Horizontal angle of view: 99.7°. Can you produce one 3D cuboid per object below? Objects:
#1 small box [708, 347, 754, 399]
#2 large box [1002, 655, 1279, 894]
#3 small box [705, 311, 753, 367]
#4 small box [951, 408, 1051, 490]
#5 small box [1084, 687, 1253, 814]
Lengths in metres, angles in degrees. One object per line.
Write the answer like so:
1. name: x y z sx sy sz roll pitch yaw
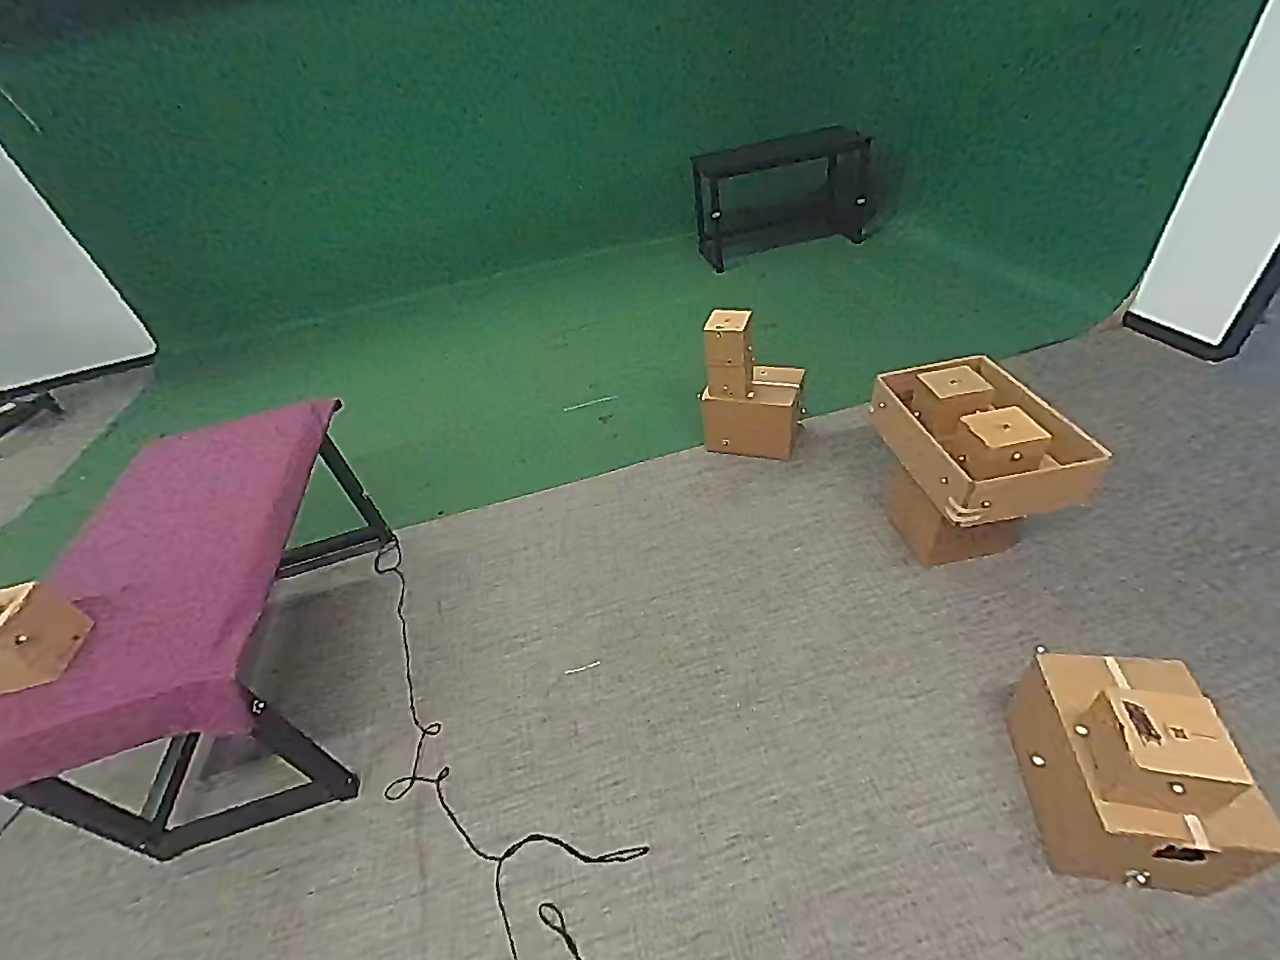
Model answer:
1. small box: 0.409 -0.484 2.410 0.168 0.176 0.179 8 45 21
2. large box: 1.130 0.684 1.282 0.320 0.320 0.408 0 41 13
3. small box: 0.381 -0.599 2.295 0.168 0.176 0.179 8 44 21
4. small box: 1.089 -0.094 1.647 0.179 0.176 0.168 -11 41 2
5. small box: 1.036 0.543 1.086 0.179 0.176 0.168 2 42 17
